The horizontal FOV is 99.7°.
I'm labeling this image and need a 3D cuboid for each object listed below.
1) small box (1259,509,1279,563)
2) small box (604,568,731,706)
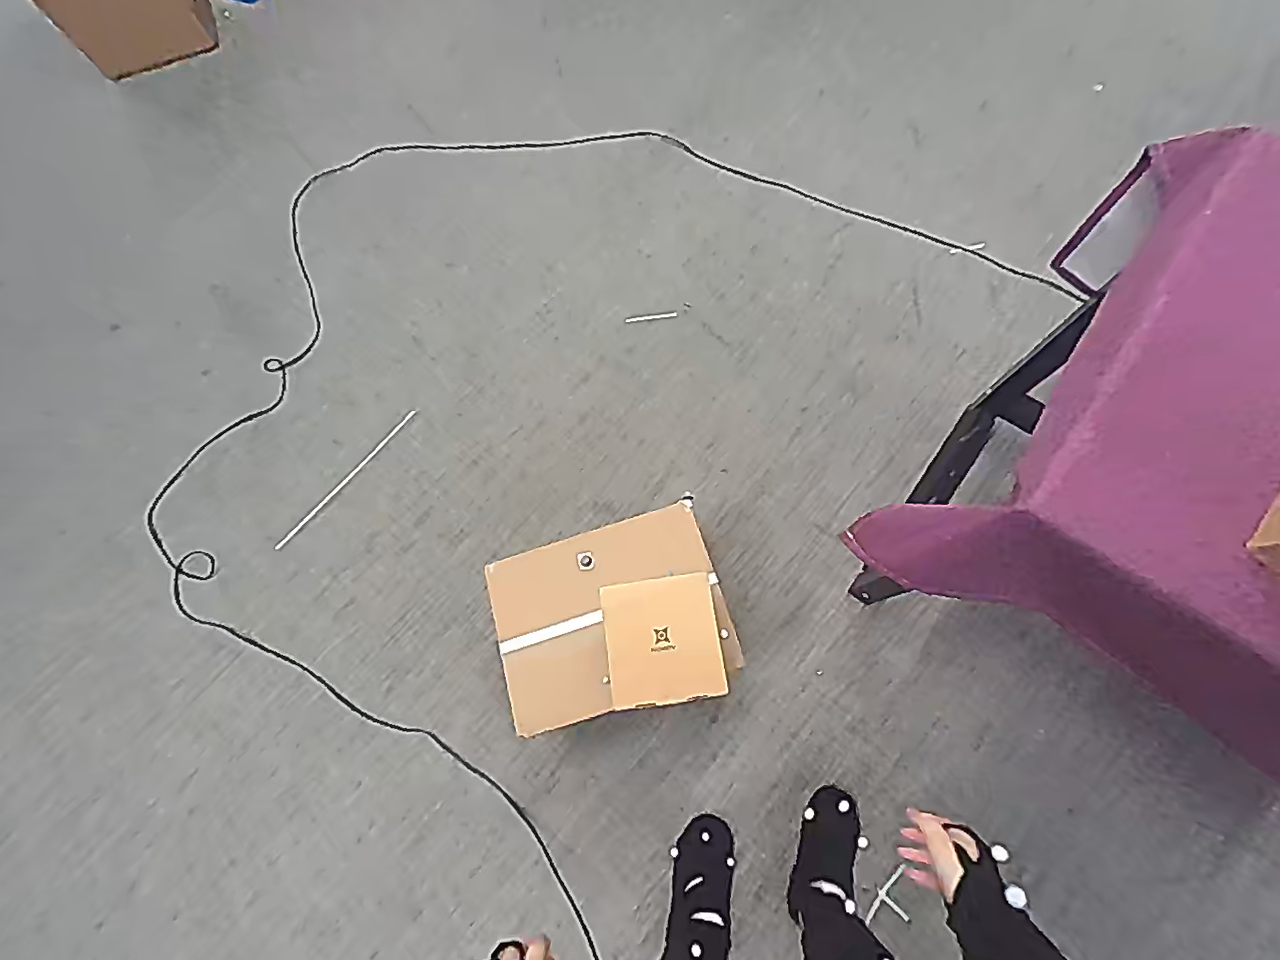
[{"bbox_3d":[0.686,0.034,0.429,0.179,0.176,0.168,39,80,16],"label":"small box"},{"bbox_3d":[0.041,0.244,0.858,0.168,0.176,0.179,-10,77,2],"label":"small box"}]
